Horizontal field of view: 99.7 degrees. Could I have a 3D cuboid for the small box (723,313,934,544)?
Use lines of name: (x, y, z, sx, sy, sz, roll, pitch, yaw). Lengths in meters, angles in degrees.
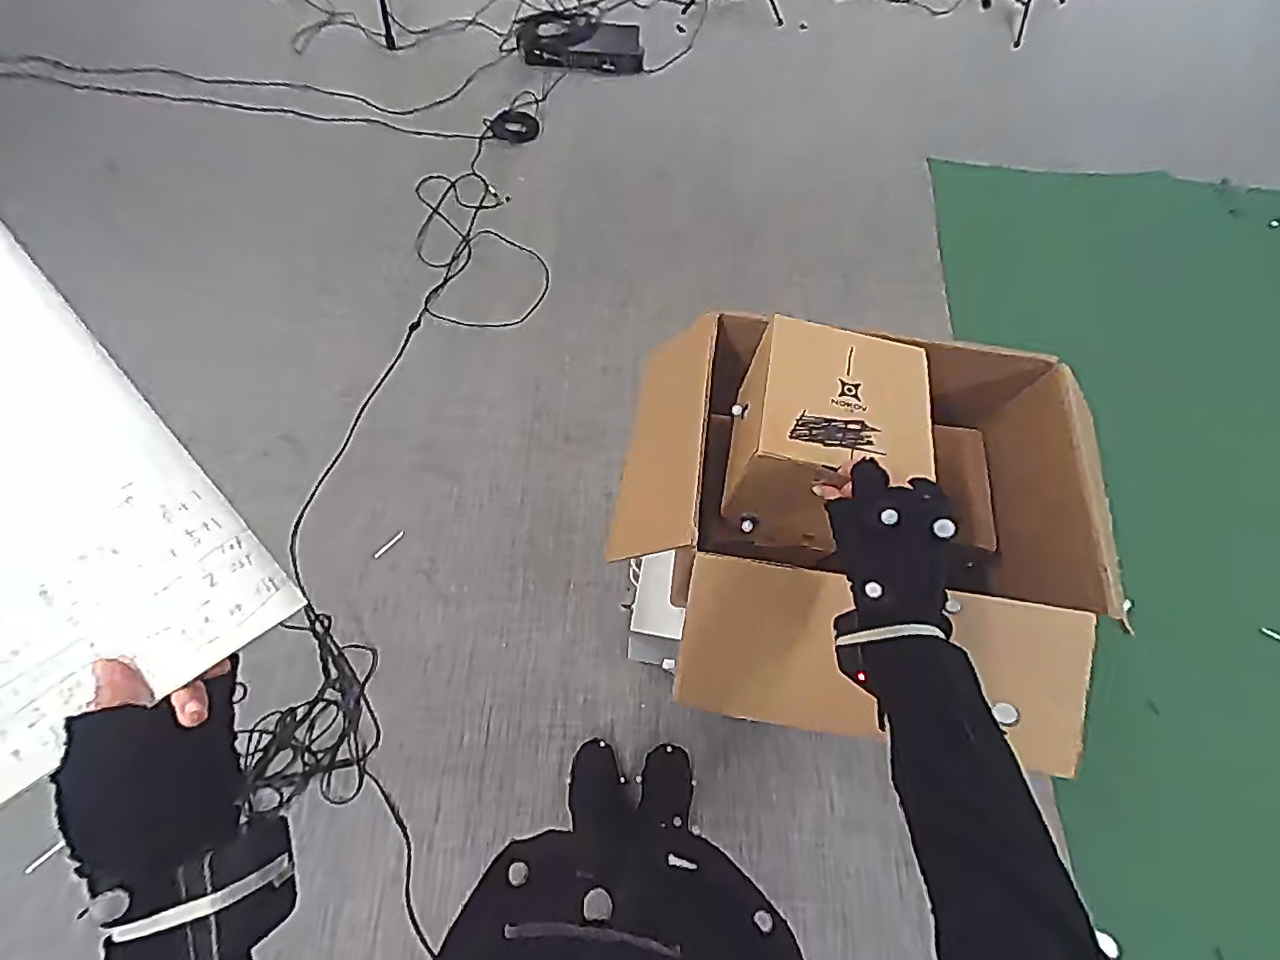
small box: (0.195, -0.047, 0.597, 0.168, 0.176, 0.179, 13, 61, 0)
